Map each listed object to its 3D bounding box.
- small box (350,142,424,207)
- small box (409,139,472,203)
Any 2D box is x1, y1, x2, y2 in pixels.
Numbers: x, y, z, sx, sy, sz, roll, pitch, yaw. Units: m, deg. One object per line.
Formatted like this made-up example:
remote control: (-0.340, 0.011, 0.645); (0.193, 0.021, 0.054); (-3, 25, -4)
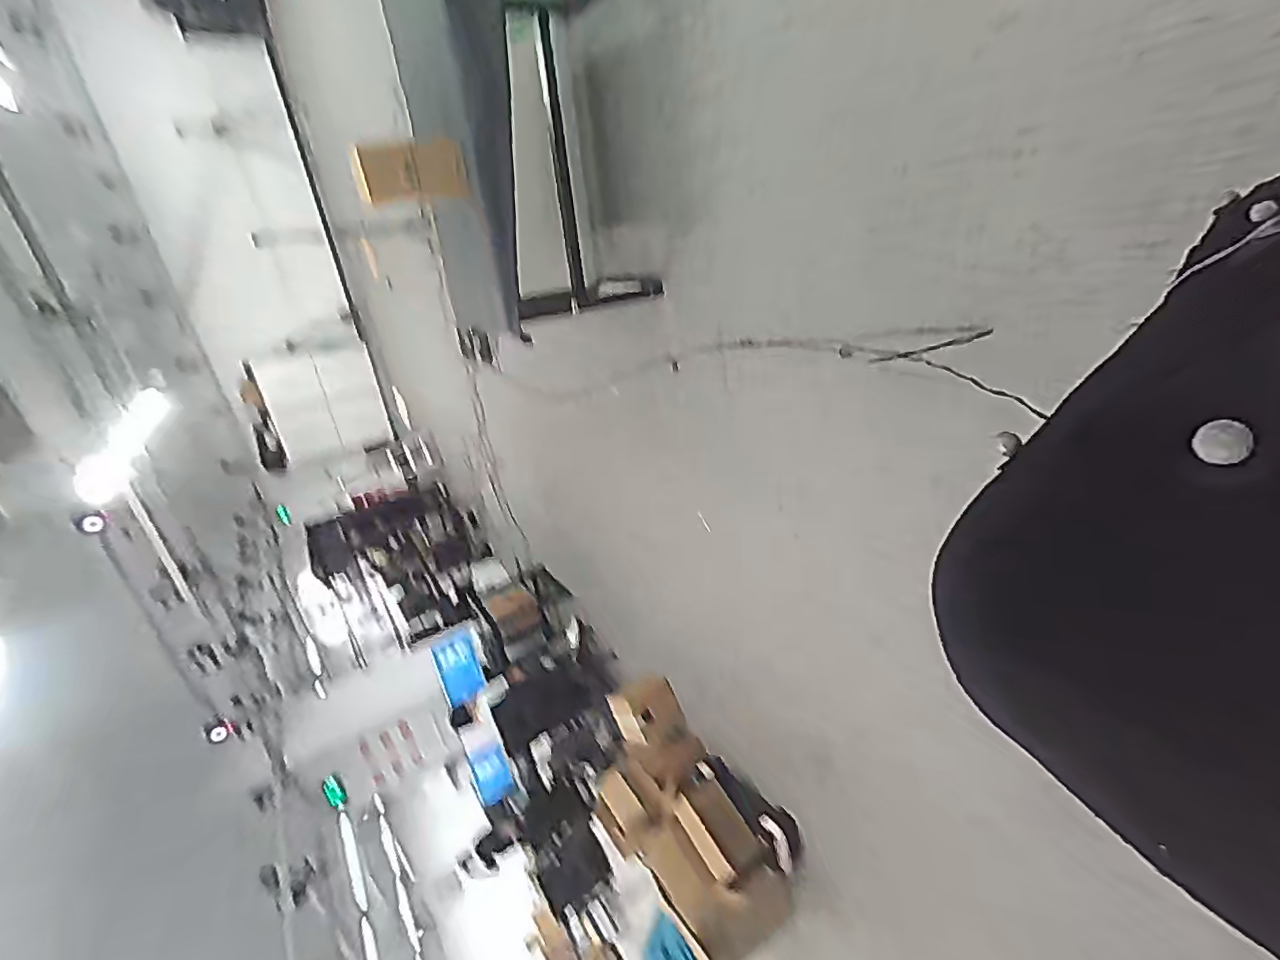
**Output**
small box: (-0.830, -1.002, 1.781); (0.179, 0.176, 0.168); (27, 133, 50)
small box: (-0.695, -1.055, 1.854); (0.168, 0.176, 0.179); (31, 133, 50)
